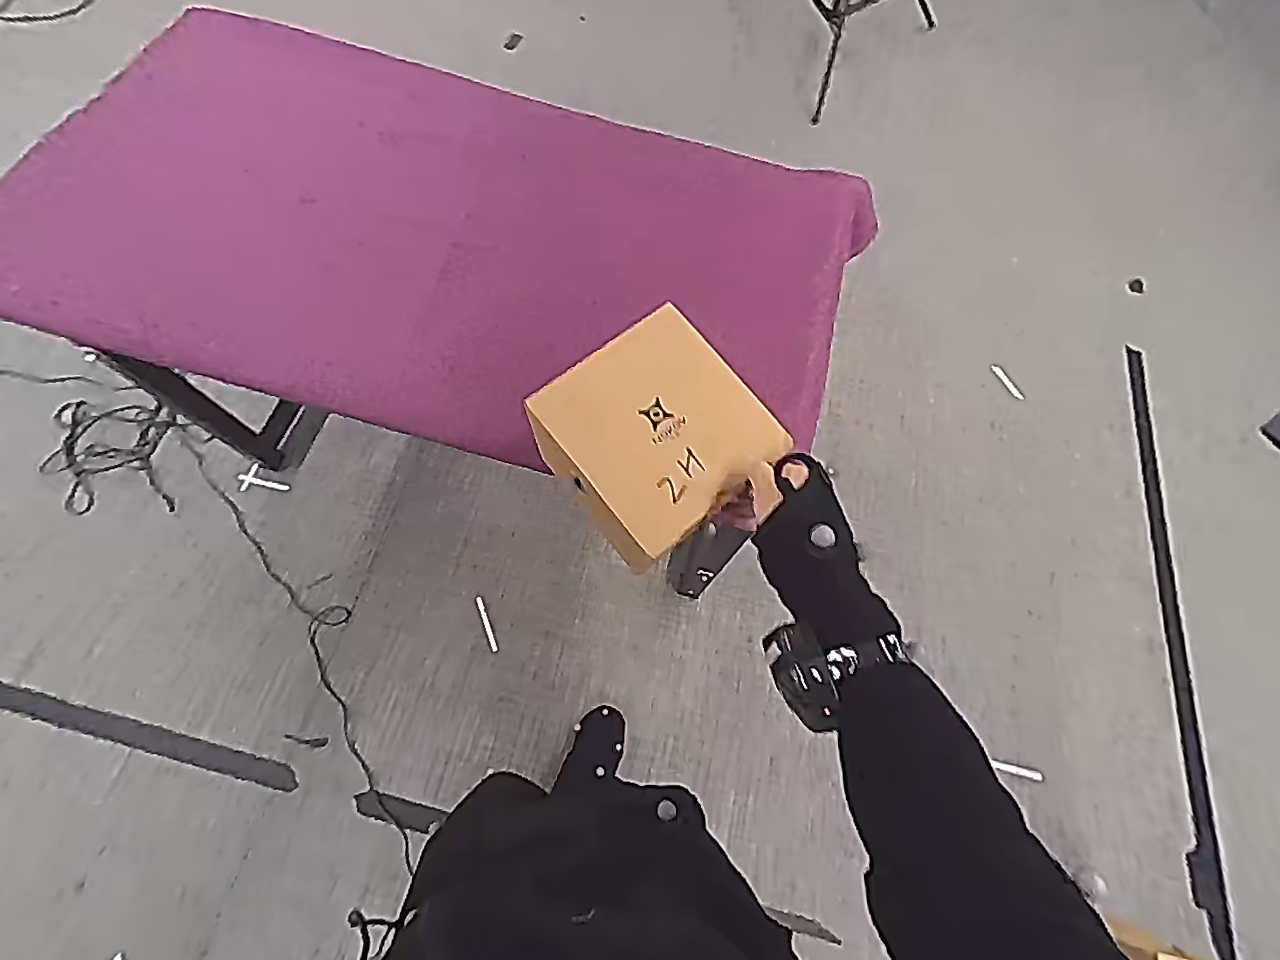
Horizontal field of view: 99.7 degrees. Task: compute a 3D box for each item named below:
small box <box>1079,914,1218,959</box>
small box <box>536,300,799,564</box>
[{"bbox_3d":[0.880,0.875,0.906,0.168,0.176,0.179,14,70,2],"label":"small box"},{"bbox_3d":[0.017,-0.034,0.542,0.168,0.176,0.179,-37,82,-12],"label":"small box"}]
